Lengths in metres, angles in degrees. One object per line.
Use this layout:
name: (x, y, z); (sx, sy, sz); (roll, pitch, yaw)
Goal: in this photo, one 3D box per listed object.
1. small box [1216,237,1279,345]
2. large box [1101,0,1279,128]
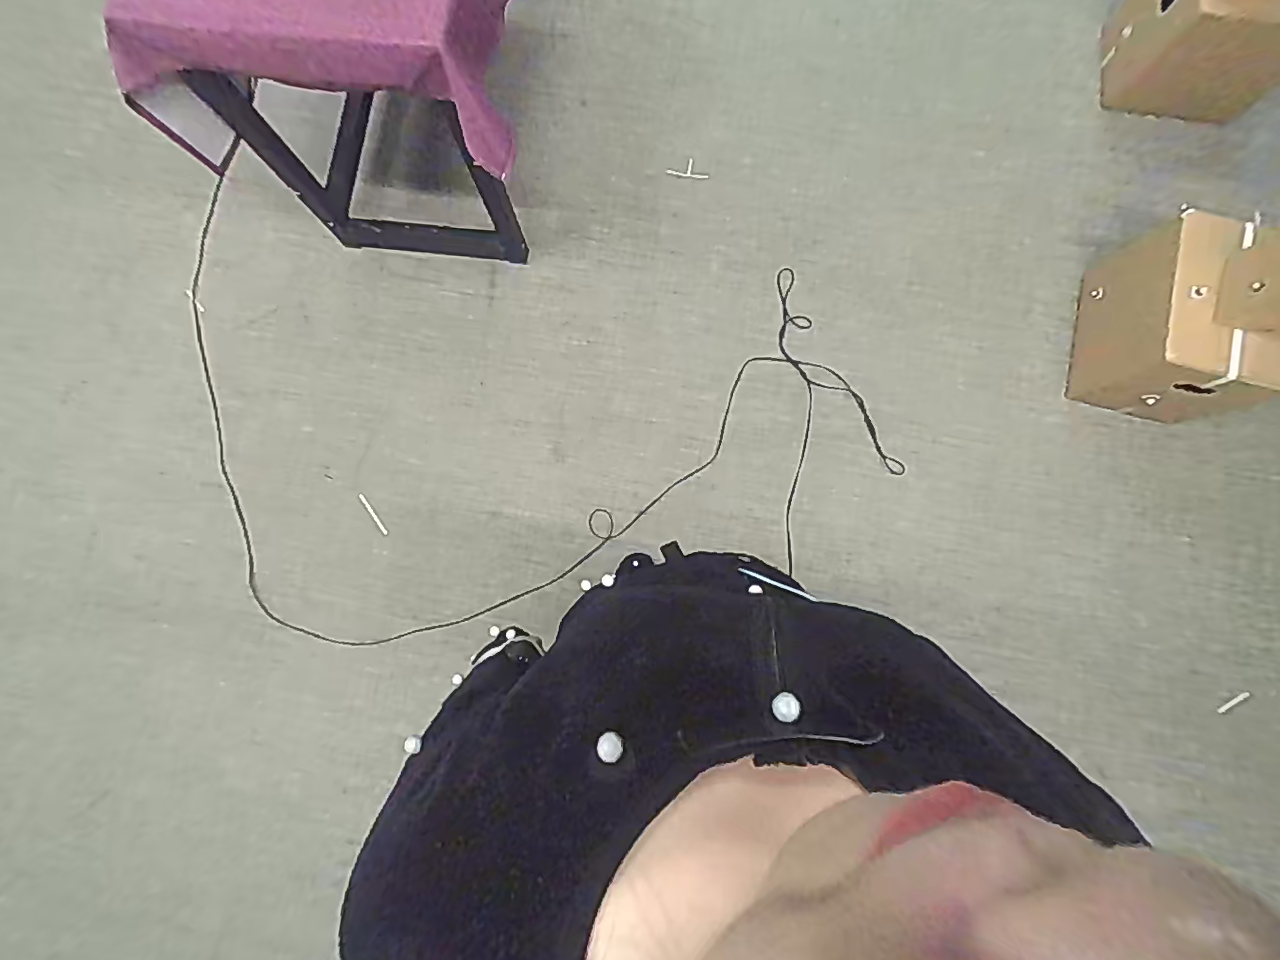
small box: (1.460, -0.428, 1.208); (0.168, 0.176, 0.179); (19, 82, 1)
large box: (1.679, -1.307, 1.590); (0.408, 0.320, 0.320); (9, 81, 1)
